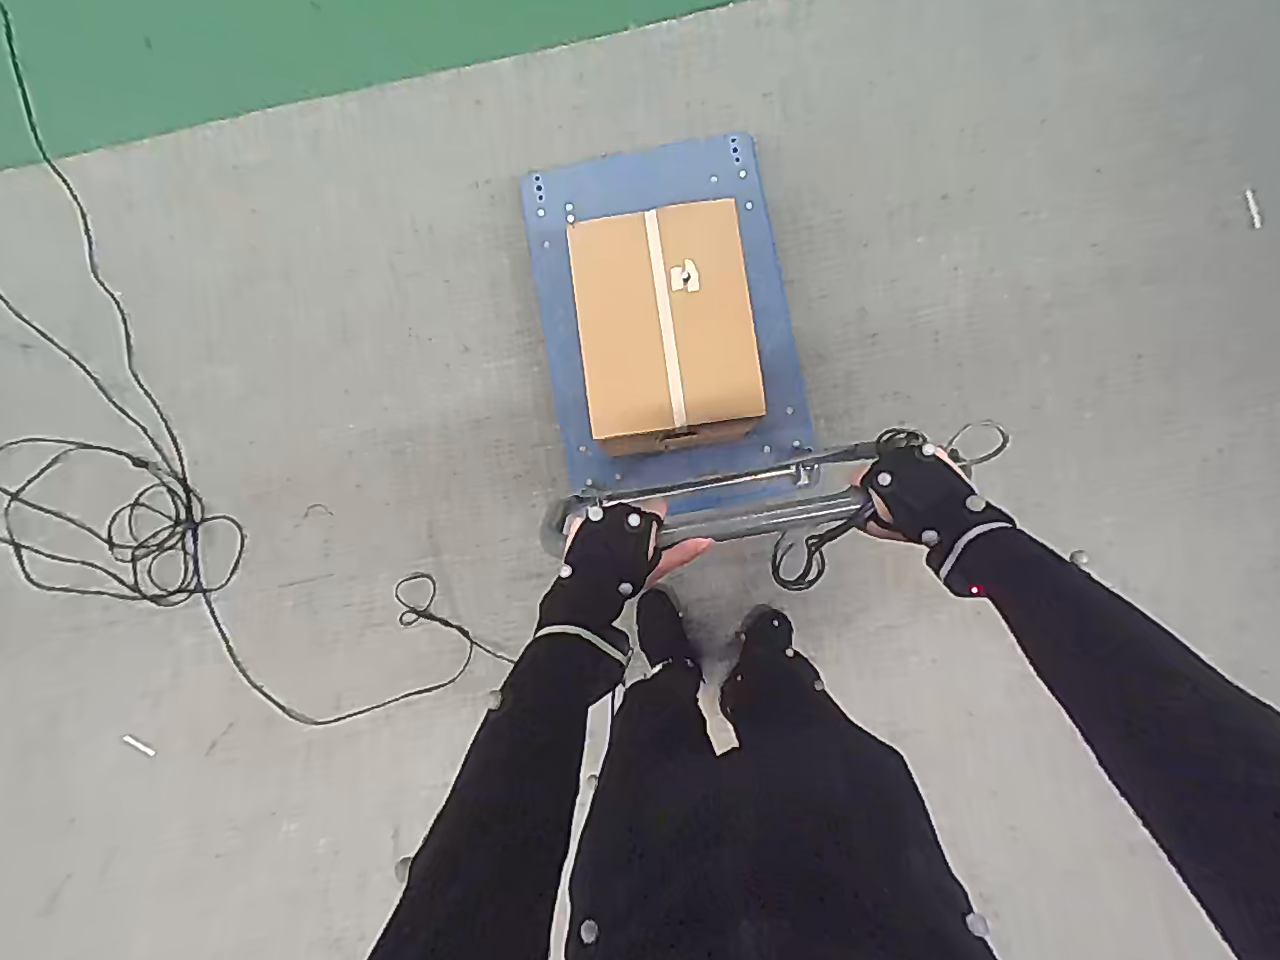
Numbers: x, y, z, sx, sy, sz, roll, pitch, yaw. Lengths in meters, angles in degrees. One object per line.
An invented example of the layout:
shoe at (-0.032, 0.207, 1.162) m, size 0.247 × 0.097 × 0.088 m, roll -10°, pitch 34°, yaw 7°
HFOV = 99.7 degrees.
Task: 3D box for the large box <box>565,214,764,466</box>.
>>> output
large box at (0.049, -0.260, 1.125) m, size 0.320 × 0.320 × 0.408 m, roll -8°, pitch 85°, yaw 1°
